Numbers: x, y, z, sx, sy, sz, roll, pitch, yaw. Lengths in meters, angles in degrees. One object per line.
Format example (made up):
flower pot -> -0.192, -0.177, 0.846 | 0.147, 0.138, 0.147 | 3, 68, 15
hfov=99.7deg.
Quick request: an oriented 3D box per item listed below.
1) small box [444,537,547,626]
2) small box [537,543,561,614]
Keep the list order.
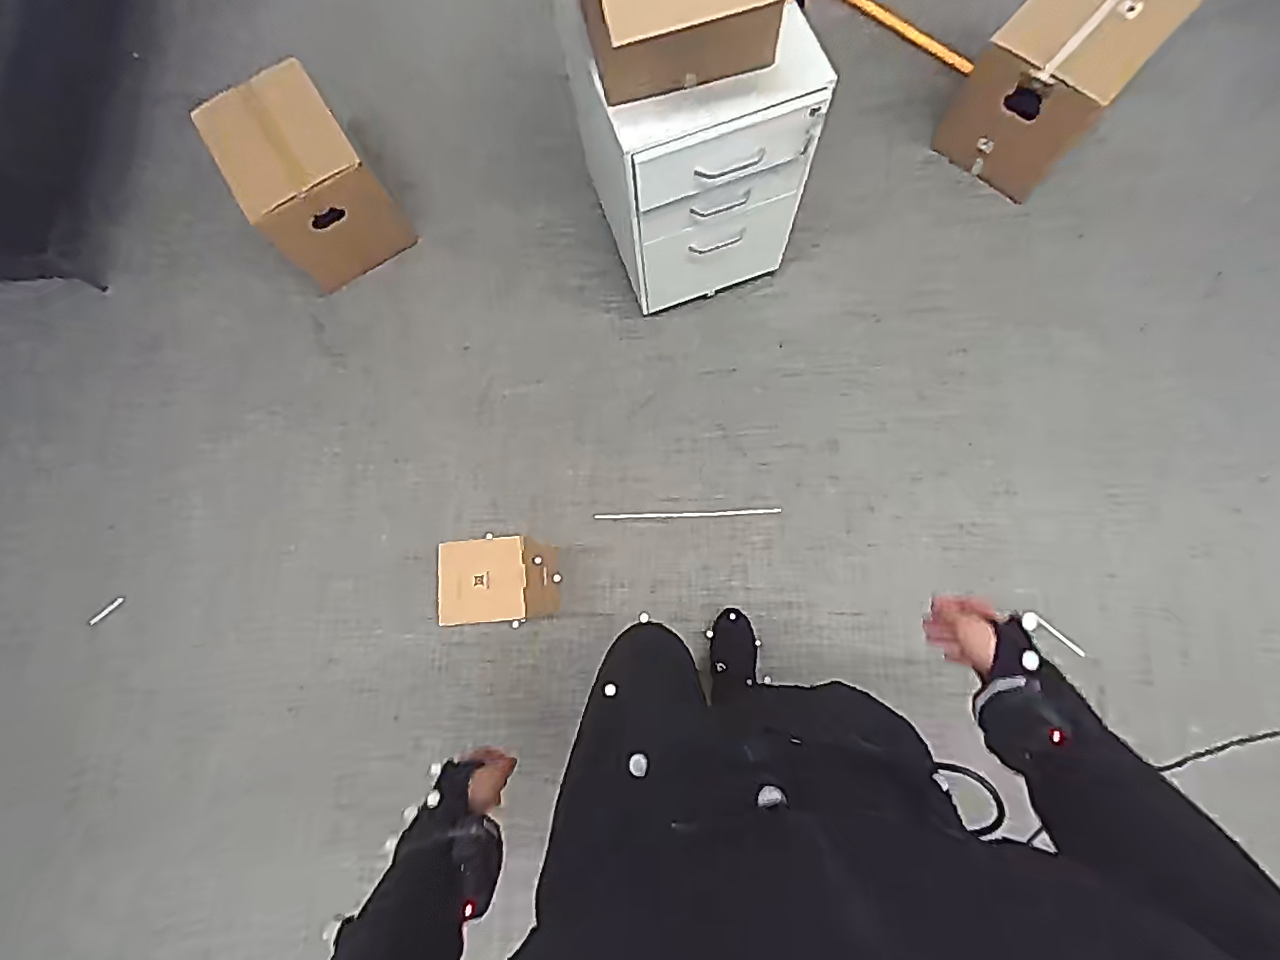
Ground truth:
small box -> -0.302, 0.219, 1.159 | 0.179, 0.176, 0.168 | -7, 76, 4
small box -> -0.290, 0.245, 1.320 | 0.179, 0.176, 0.168 | -4, 77, 3
